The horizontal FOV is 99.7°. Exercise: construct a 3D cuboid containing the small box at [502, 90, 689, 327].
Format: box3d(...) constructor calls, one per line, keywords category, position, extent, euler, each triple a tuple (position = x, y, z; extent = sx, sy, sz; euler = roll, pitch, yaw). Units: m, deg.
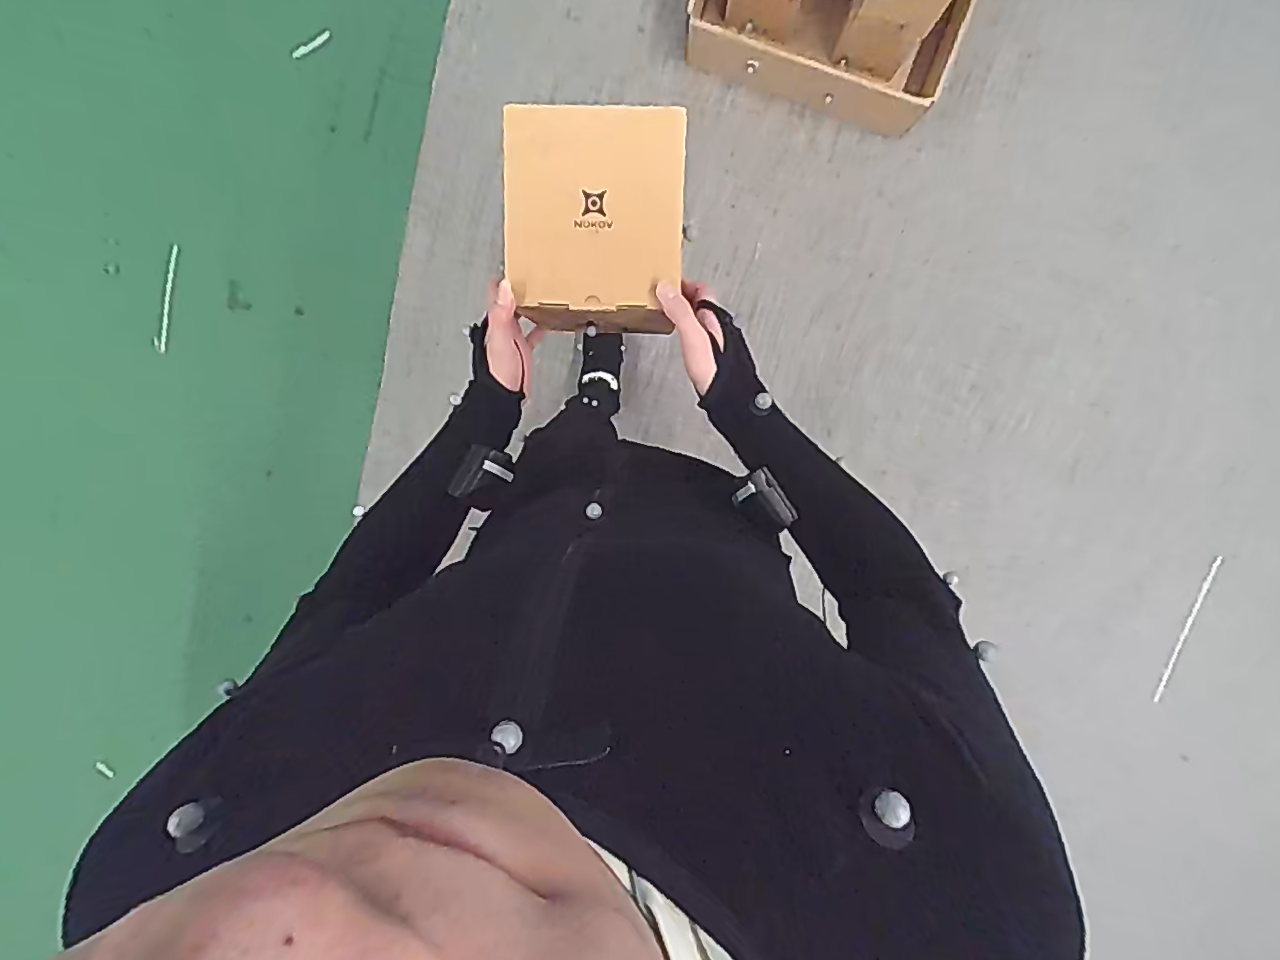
box3d(category="small box", position=(-0.041, -0.264, 0.563), extent=(0.168, 0.176, 0.179), euler=(2, 99, 1))
